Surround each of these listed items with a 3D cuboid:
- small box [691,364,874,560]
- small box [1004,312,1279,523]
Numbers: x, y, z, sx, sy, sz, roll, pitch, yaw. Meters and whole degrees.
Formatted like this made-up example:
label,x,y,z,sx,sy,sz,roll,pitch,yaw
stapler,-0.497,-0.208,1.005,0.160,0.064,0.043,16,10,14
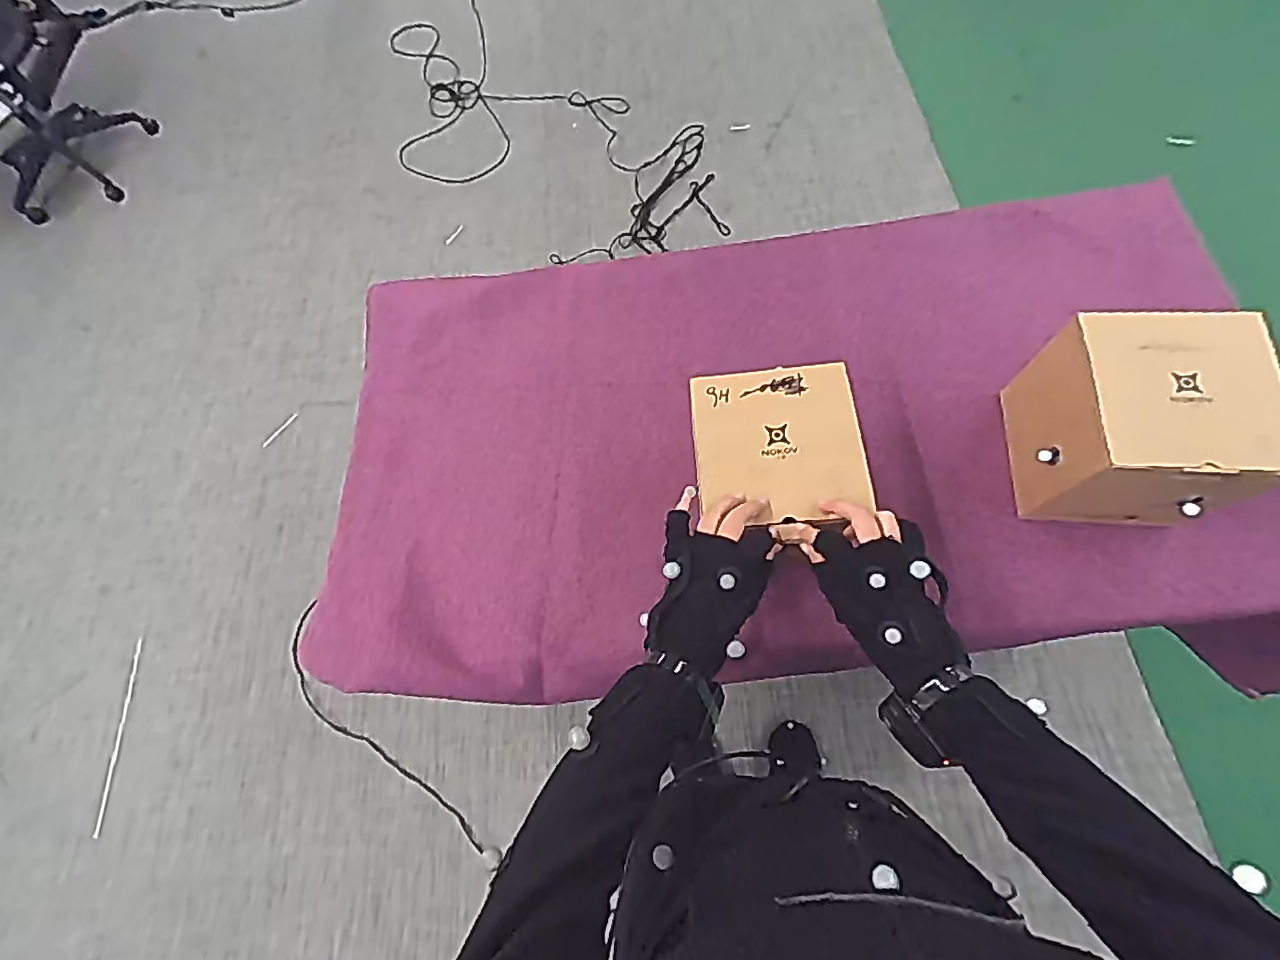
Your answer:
label,x,y,z,sx,sy,sz,roll,pitch,yaw
small box,0.150,-0.008,0.622,0.168,0.176,0.179,-5,69,6
small box,0.531,-0.059,0.588,0.168,0.176,0.179,3,69,9
